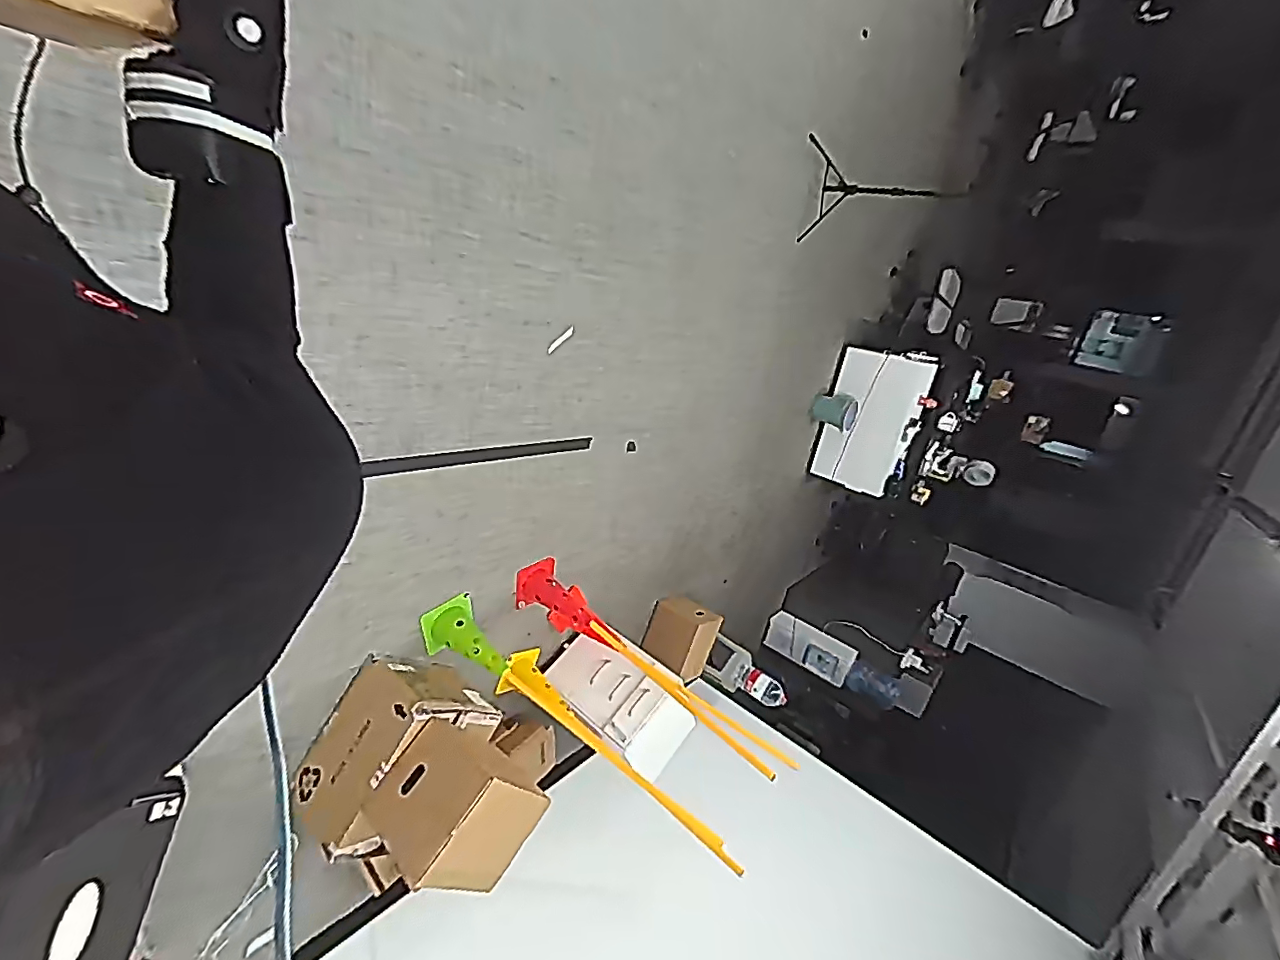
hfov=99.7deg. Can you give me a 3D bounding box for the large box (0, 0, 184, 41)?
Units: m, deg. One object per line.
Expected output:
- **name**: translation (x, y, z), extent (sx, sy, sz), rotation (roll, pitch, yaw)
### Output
- **large box**: translation (-0.519, -0.467, 0.242), extent (0.408, 0.320, 0.320), rotation (-15, 127, -50)
